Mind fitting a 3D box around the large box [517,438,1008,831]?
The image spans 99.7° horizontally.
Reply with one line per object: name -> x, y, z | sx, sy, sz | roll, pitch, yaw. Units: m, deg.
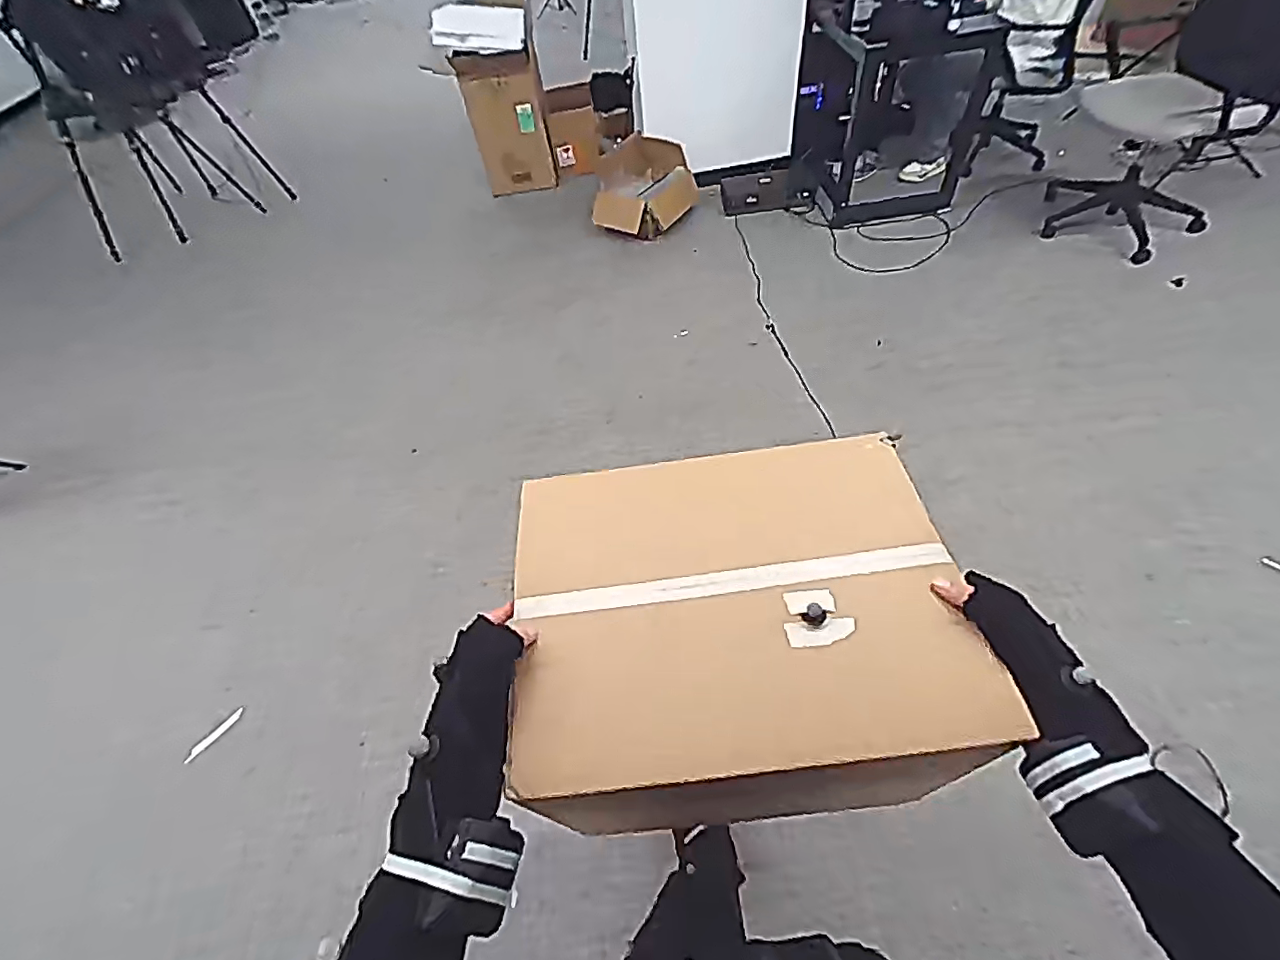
large box -> 0.096, 0.191, 0.635 | 0.408, 0.320, 0.320 | -8, 51, 2
